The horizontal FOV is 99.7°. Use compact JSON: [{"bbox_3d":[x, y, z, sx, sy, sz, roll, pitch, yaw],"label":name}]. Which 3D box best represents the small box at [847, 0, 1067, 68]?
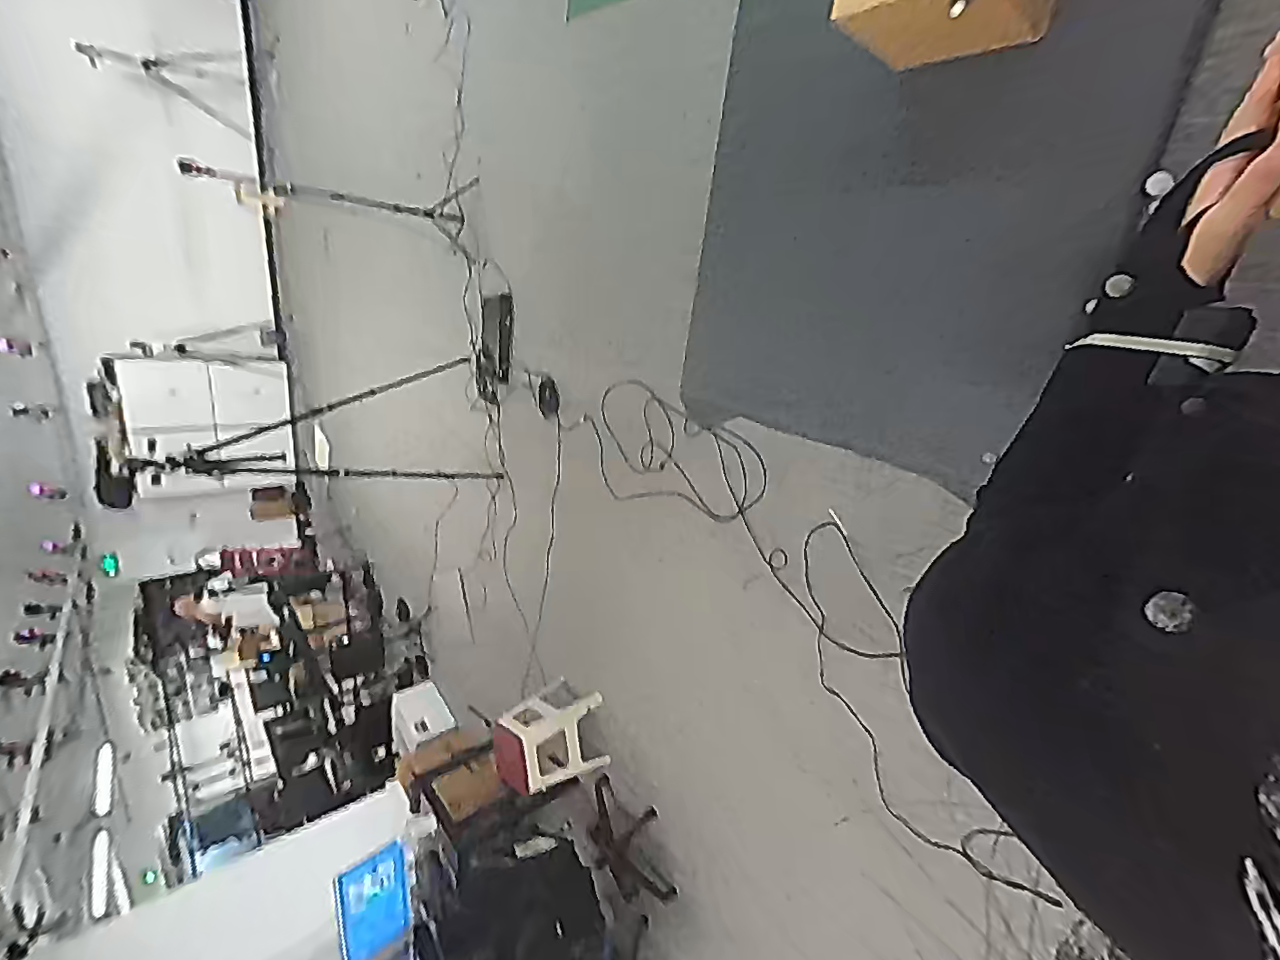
[{"bbox_3d":[0.372,-0.602,0.609,0.179,0.176,0.168,26,117,46],"label":"small box"}]
